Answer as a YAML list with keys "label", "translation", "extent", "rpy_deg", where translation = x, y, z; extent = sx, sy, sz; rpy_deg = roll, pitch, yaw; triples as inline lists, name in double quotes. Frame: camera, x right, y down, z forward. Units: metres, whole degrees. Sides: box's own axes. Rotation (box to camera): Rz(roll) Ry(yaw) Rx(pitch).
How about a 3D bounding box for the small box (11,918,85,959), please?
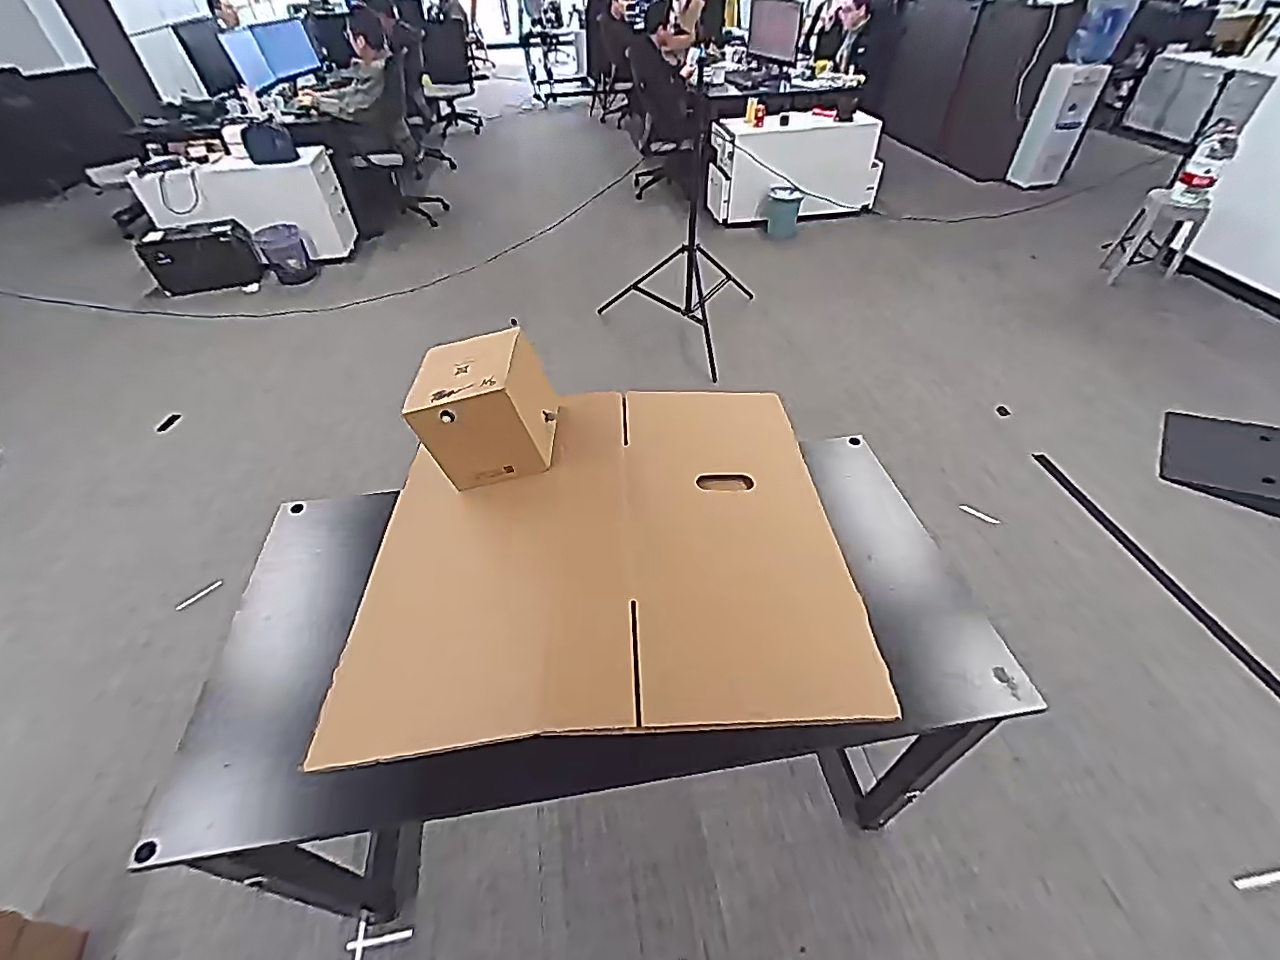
- label: "small box"
  translation: [-1.264, 0.999, 1.060]
  extent: [0.168, 0.176, 0.179]
  rpy_deg: [-10, 46, -8]

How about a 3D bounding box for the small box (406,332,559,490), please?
- label: "small box"
  translation: [-0.242, -0.111, 0.884]
  extent: [0.168, 0.176, 0.179]
  rpy_deg: [-12, 43, 10]
